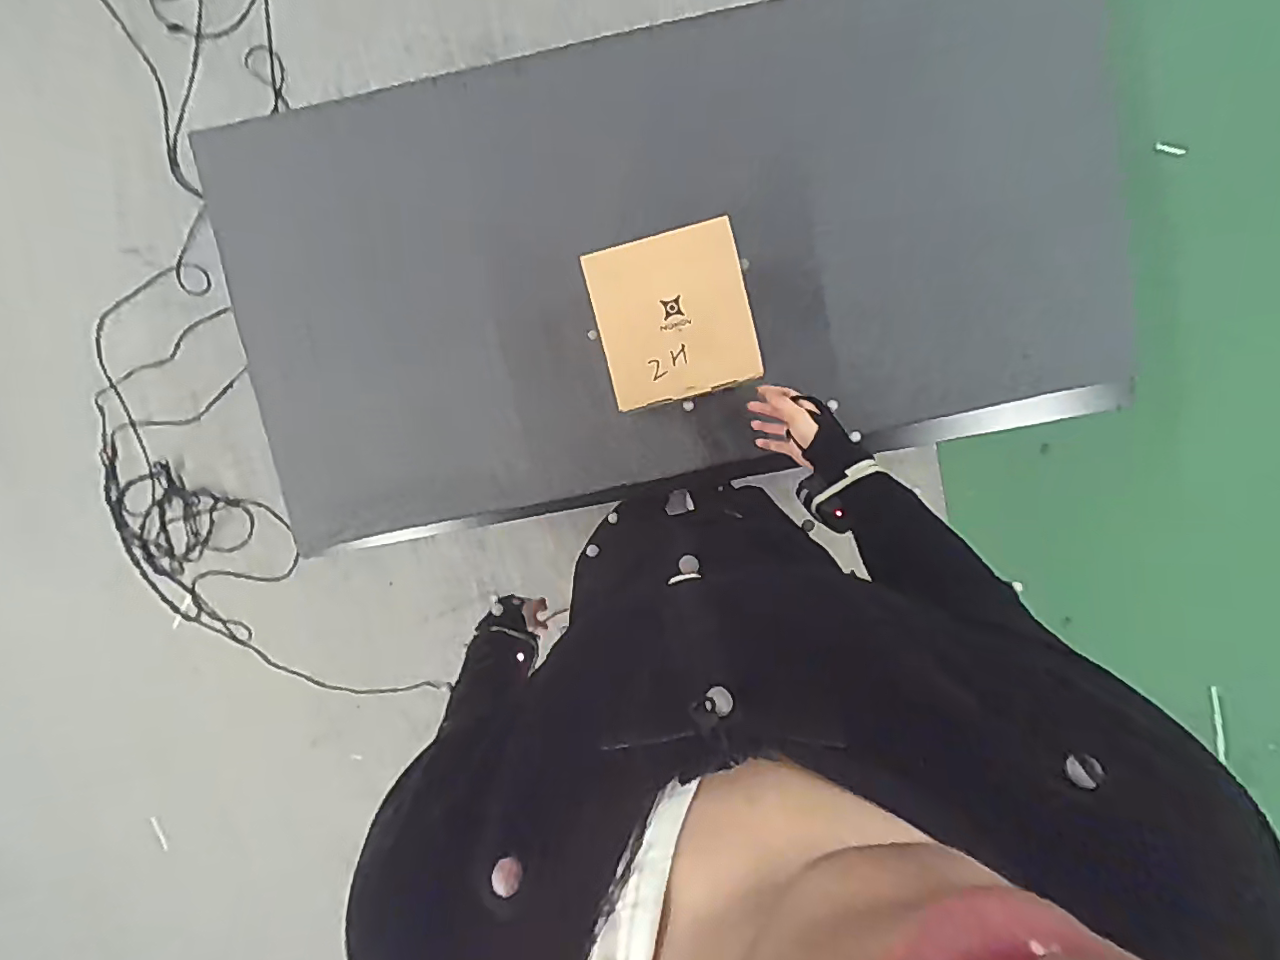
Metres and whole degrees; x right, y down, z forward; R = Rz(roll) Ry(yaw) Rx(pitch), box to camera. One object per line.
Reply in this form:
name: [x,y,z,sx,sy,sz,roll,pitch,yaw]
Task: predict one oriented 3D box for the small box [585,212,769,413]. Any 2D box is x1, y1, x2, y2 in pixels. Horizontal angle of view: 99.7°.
small box: [0.041,-0.185,0.652,0.168,0.176,0.179,-14,95,3]
